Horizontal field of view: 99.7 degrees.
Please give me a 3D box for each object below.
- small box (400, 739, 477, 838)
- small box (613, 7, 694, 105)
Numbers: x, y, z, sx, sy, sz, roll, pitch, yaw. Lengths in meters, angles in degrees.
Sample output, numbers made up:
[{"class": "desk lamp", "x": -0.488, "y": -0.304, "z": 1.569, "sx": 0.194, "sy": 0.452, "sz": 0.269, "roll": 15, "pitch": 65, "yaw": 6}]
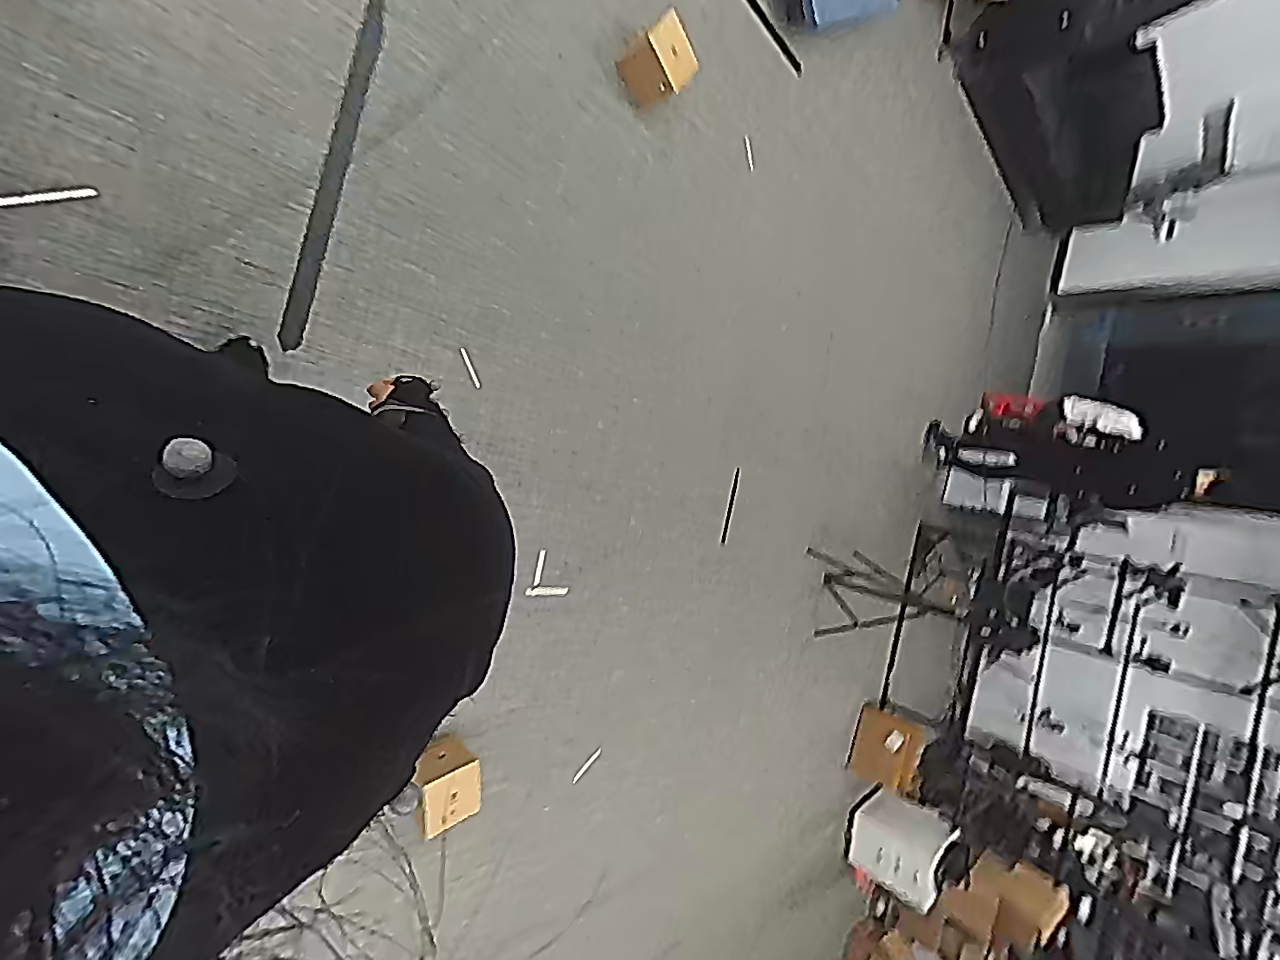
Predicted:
[{"class": "small box", "x": -0.602, "y": 0.904, "z": 1.612, "sx": 0.168, "sy": 0.176, "sz": 0.179, "roll": -8, "pitch": 104, "yaw": -43}, {"class": "small box", "x": 0.041, "y": -1.389, "z": 1.785, "sx": 0.179, "sy": 0.176, "sz": 0.168, "roll": 47, "pitch": 66, "yaw": -39}]
